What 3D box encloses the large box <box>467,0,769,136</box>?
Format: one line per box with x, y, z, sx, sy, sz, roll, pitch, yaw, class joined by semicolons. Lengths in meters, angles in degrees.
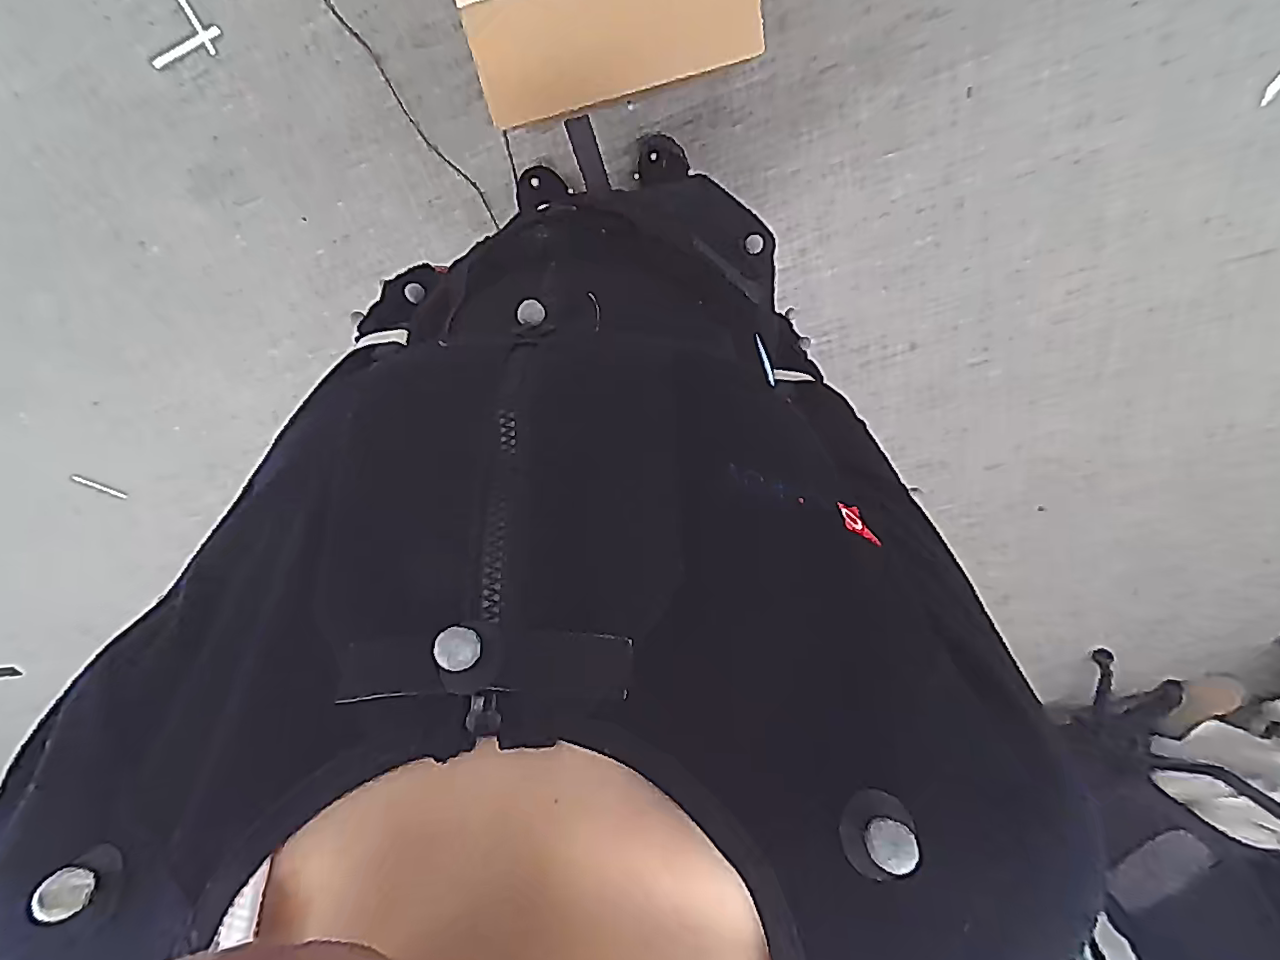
-0.044;-0.764;0.839;0.408;0.320;0.320;-11;123;7;large box
